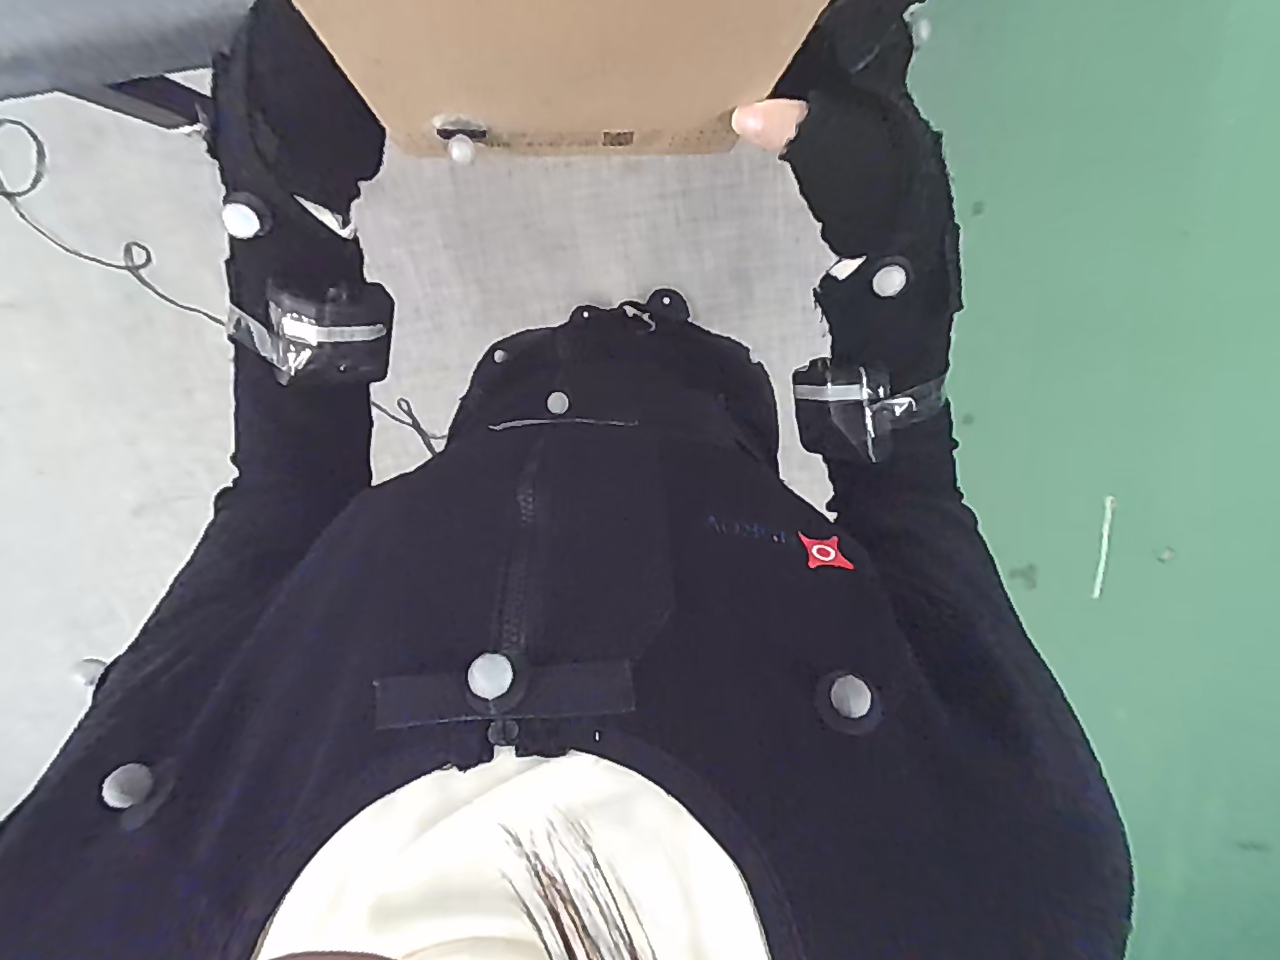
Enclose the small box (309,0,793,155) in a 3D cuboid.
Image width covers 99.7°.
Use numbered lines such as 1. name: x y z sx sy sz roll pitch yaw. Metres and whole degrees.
1. small box: -0.031 -0.239 0.191 0.168 0.176 0.179 -4 100 -7
